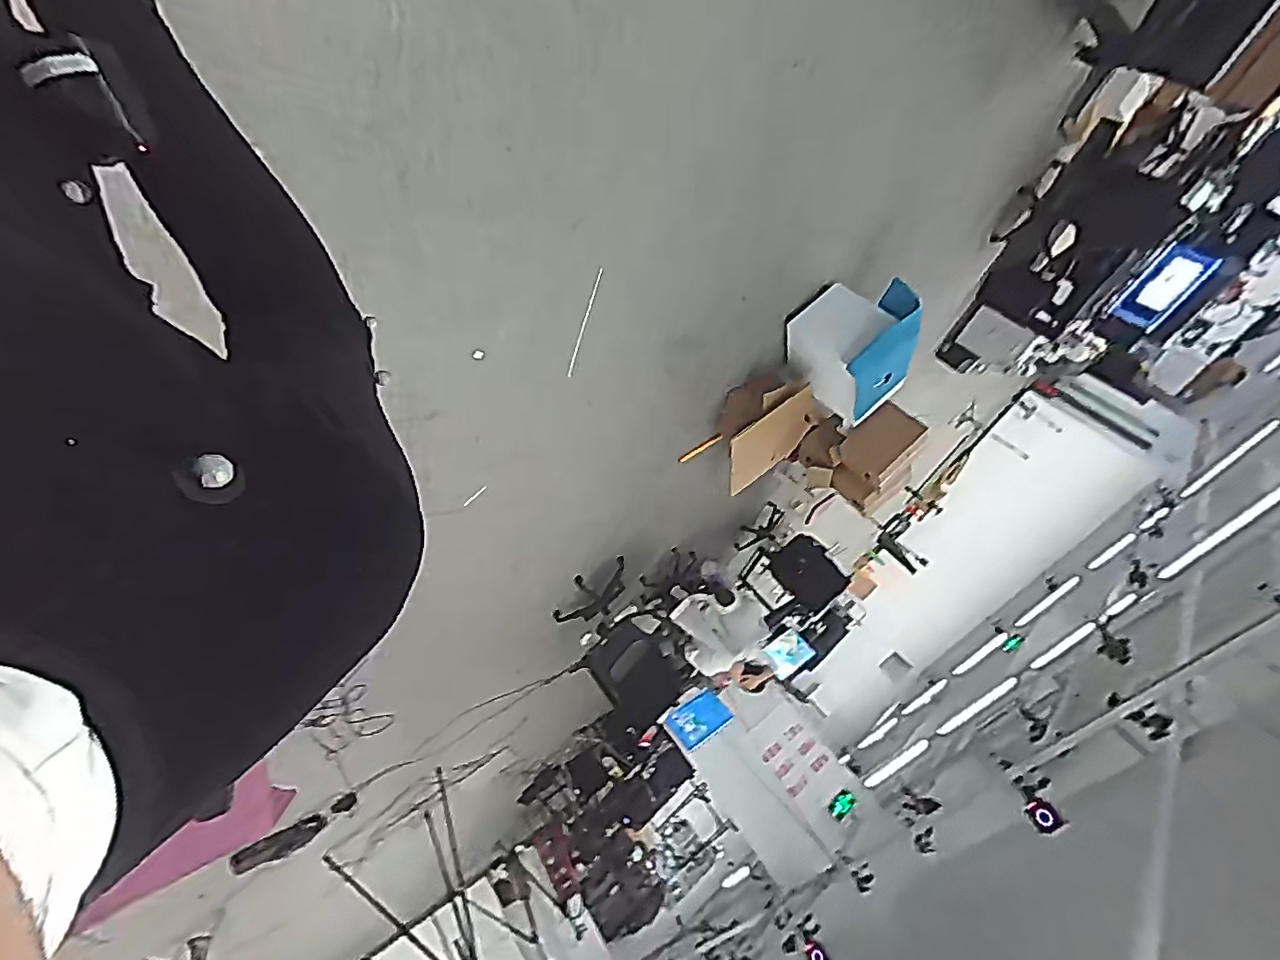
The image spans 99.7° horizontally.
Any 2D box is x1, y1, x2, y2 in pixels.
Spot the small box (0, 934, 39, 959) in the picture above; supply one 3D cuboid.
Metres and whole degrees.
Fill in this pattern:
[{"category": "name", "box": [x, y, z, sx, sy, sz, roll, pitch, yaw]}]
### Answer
[{"category": "small box", "box": [-1.579, 1.245, 1.295, 0.168, 0.176, 0.179, -16, 142, -41]}]
